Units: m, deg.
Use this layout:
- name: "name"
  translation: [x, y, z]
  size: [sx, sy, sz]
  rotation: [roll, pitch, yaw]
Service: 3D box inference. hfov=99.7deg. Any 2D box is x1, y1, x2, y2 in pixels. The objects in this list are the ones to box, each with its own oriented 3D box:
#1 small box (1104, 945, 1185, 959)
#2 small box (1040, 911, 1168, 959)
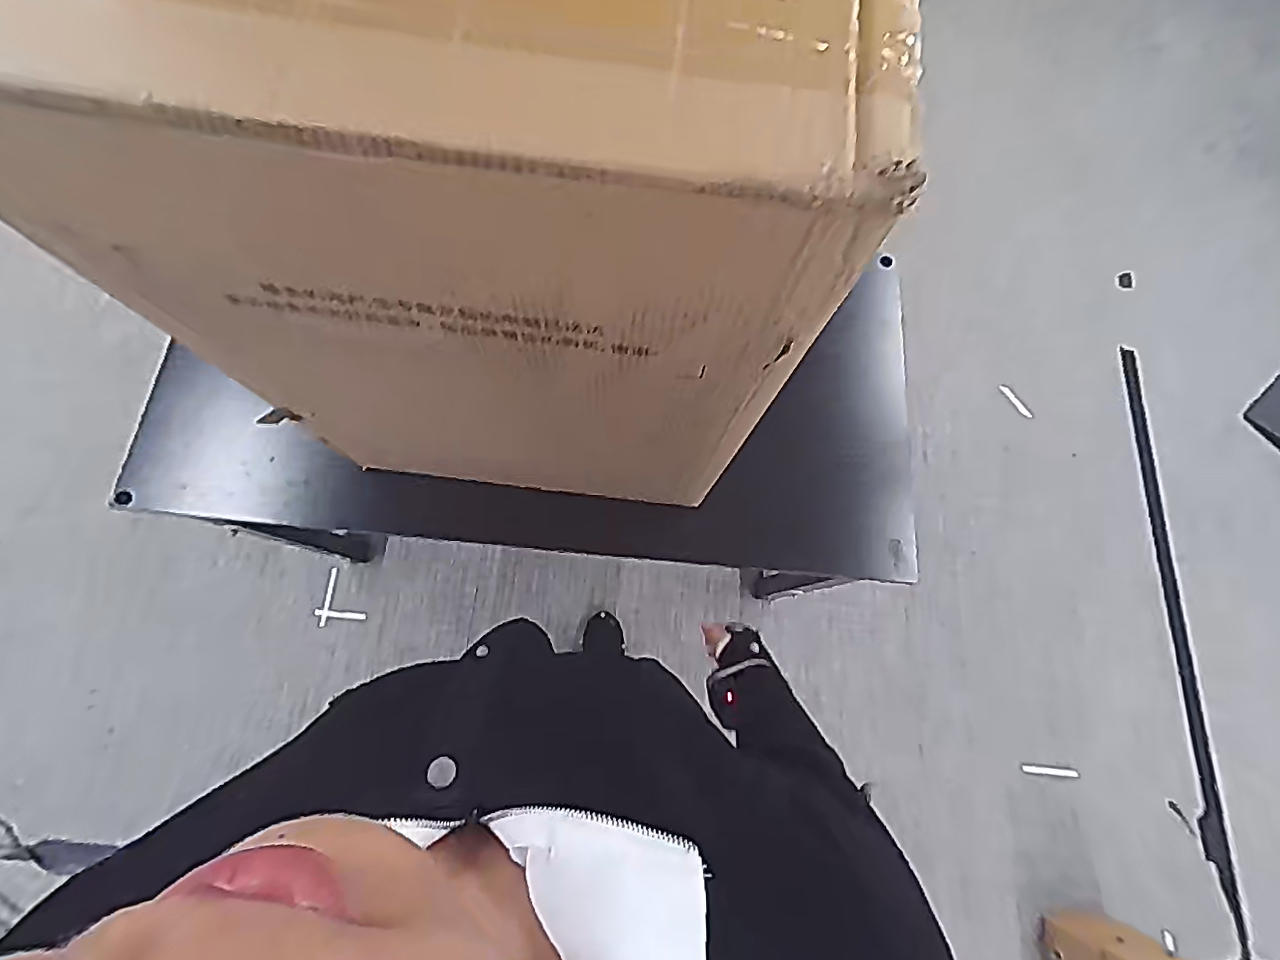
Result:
- name: "small box"
  translation: [1.106, 1.102, 1.110]
  size: [0.168, 0.176, 0.179]
  rotation: [5, 74, -2]
- name: "small box"
  translation: [1.095, 1.147, 1.268]
  size: [0.179, 0.176, 0.168]
  rotation: [1, 73, -2]
